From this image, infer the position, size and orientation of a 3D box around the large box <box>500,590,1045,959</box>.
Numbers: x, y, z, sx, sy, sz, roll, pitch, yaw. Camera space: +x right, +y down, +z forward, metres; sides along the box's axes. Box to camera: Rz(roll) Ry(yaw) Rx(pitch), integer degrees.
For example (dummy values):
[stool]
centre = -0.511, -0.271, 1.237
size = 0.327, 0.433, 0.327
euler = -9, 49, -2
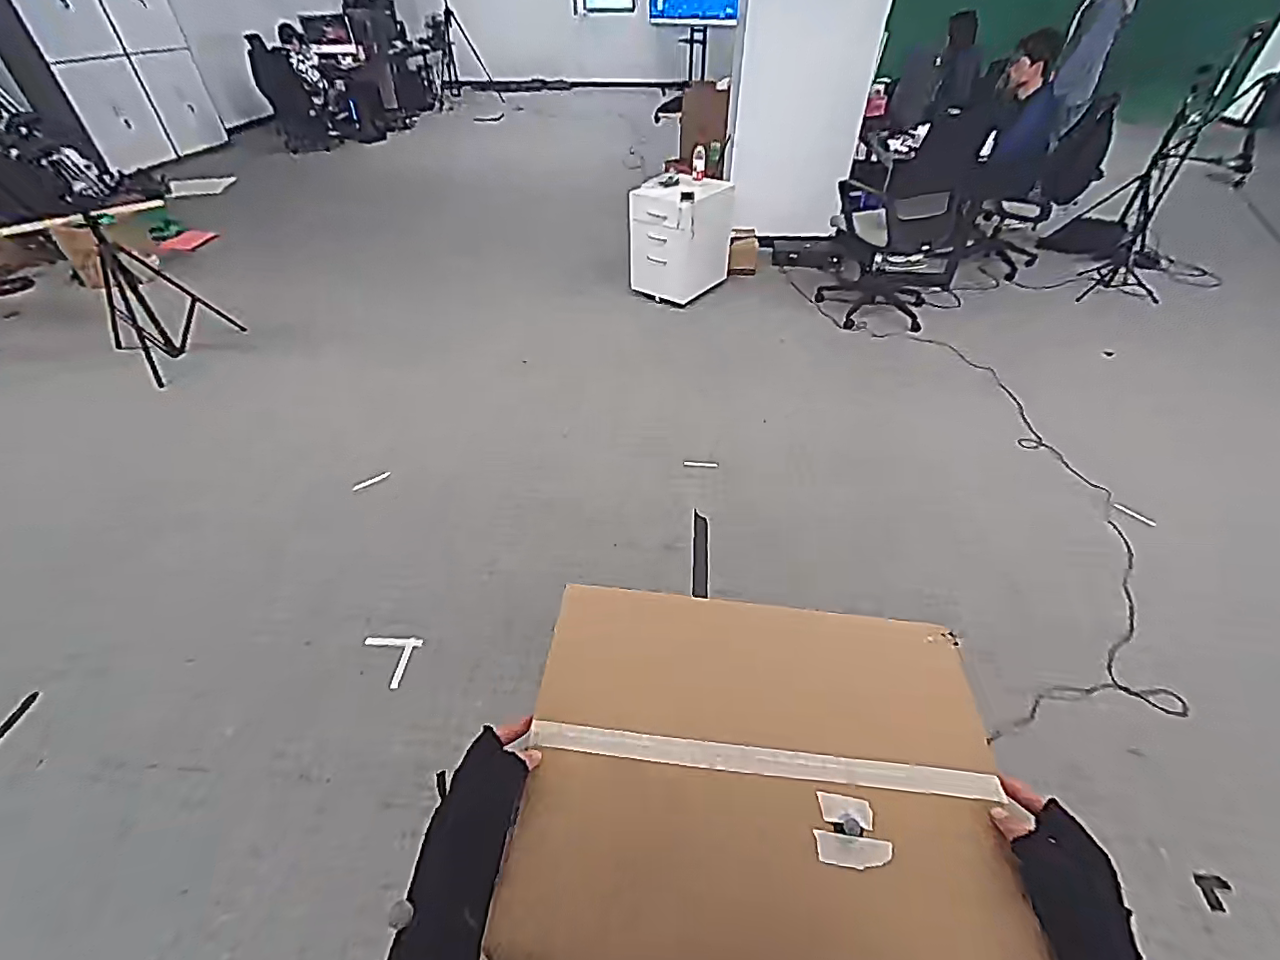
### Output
[large box]
centre = 0.101, 0.350, 0.586
size = 0.408, 0.320, 0.320
euler = 6, 47, 3
